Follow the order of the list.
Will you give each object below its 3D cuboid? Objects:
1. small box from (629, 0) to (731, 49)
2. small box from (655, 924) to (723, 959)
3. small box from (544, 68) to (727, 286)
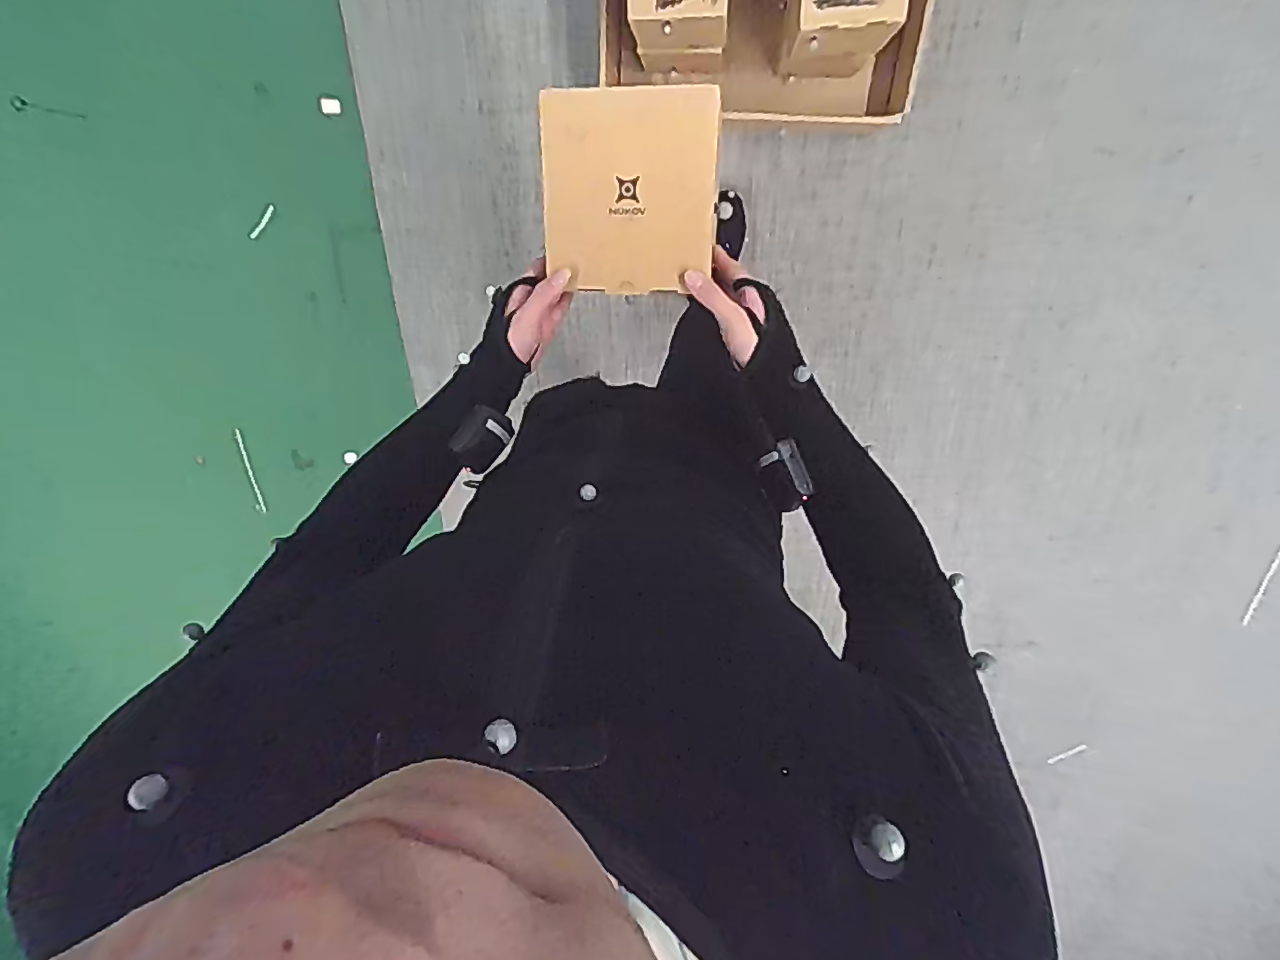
[{"bbox_3d":[0.073,-0.864,0.914,0.168,0.176,0.179,4,114,7],"label":"small box"},{"bbox_3d":[0.122,1.250,1.339,0.168,0.176,0.179,0,115,7],"label":"small box"},{"bbox_3d":[0.002,-0.302,0.575,0.168,0.176,0.179,3,110,7],"label":"small box"}]
